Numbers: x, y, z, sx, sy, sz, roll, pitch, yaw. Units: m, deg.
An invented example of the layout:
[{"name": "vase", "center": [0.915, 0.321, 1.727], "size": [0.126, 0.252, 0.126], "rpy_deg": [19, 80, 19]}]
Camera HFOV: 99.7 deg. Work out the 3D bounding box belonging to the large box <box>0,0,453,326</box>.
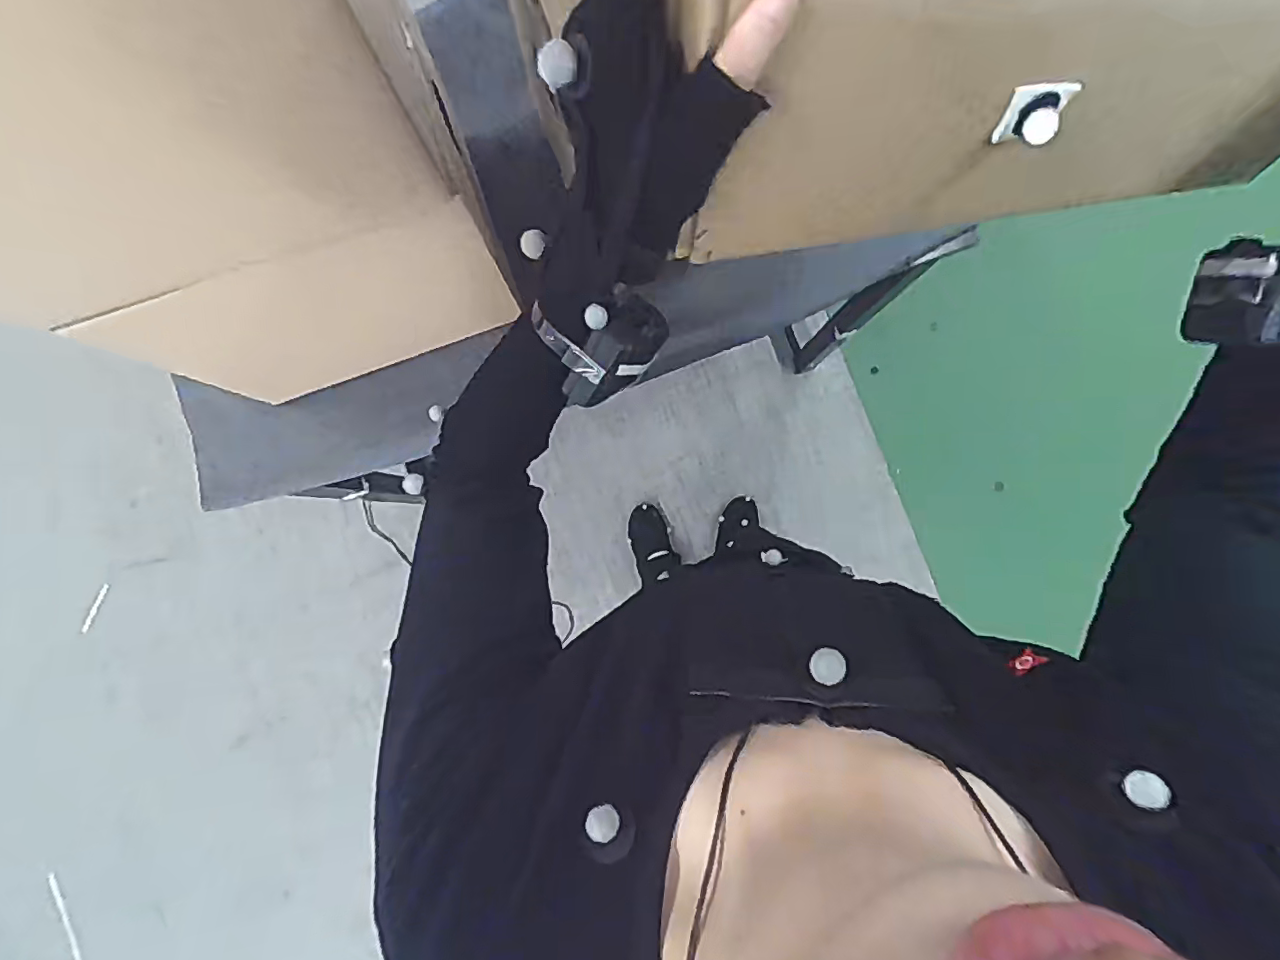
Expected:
[{"name": "large box", "center": [-0.403, -0.355, 0.362], "size": [0.408, 0.320, 0.320], "rpy_deg": [-19, 87, -4]}]
